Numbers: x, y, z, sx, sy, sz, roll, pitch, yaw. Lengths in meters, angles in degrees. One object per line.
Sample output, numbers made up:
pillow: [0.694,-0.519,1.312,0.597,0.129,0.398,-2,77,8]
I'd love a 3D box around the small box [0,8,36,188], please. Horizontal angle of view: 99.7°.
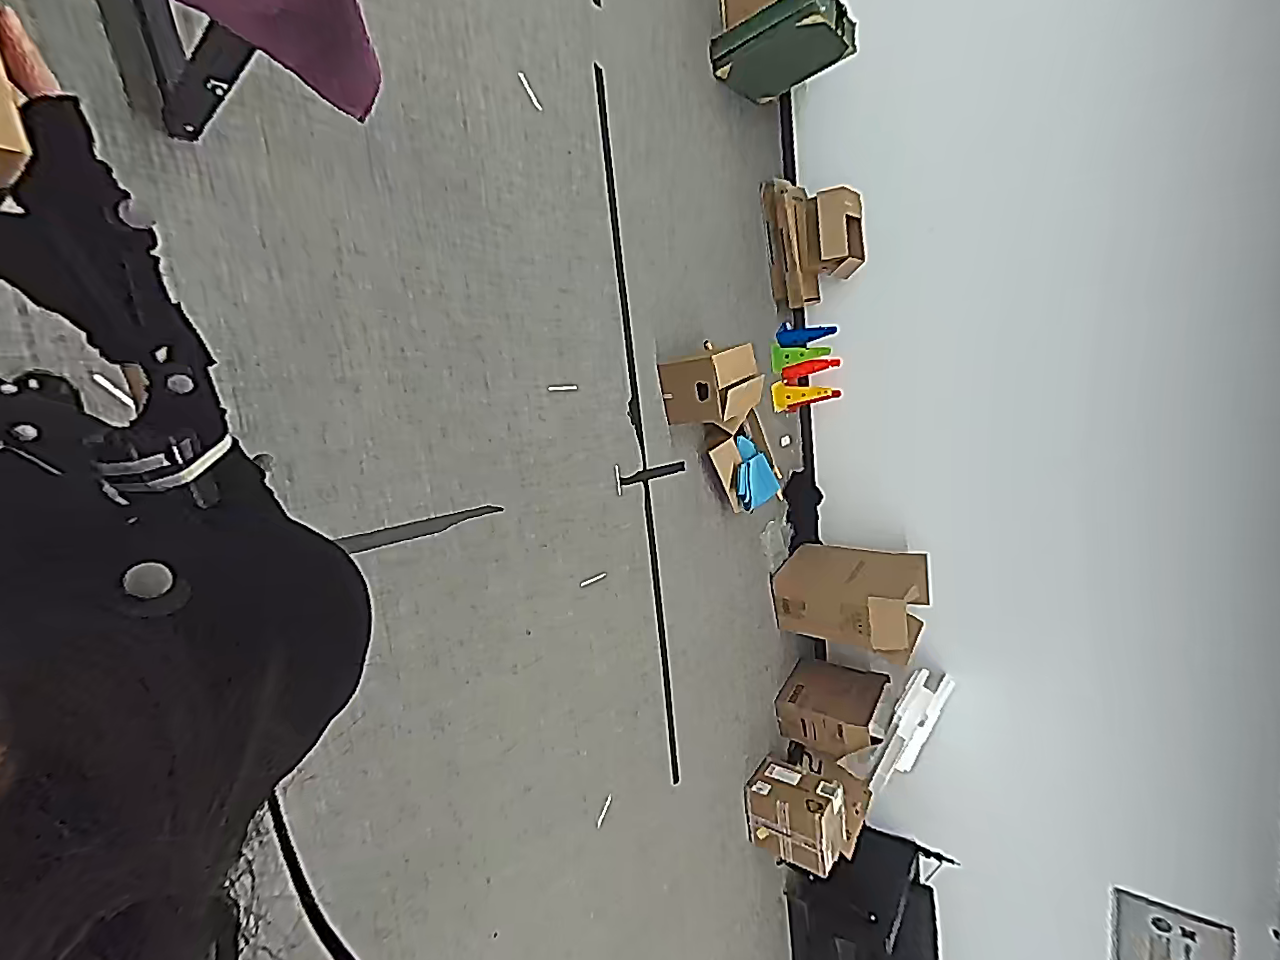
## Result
small box: [-0.403,-0.225,0.215,0.168,0.176,0.179,-23,109,-54]
